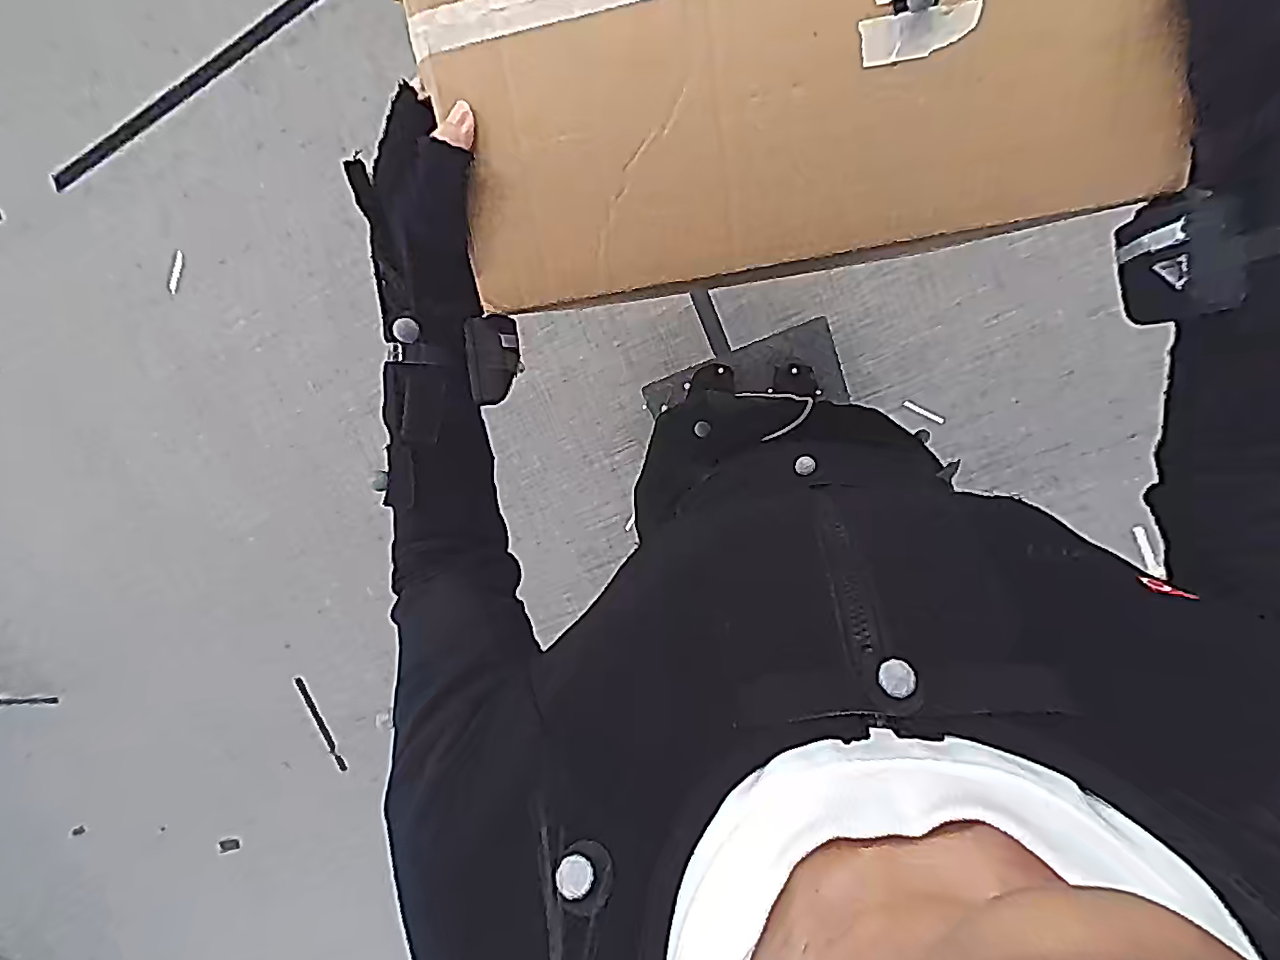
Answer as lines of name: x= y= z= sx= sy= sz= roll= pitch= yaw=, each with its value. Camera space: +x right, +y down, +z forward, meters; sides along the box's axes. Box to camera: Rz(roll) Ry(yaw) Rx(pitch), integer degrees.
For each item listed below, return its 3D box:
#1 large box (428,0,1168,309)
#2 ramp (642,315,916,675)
large box: x=0.086 y=-0.331 z=0.437 sx=0.408 sy=0.320 sz=0.320 roll=-7 pitch=107 yaw=9
ramp: x=0.418 y=0.103 z=1.517 sx=0.509 sy=0.206 sz=0.991 roll=-22 pitch=98 yaw=11
